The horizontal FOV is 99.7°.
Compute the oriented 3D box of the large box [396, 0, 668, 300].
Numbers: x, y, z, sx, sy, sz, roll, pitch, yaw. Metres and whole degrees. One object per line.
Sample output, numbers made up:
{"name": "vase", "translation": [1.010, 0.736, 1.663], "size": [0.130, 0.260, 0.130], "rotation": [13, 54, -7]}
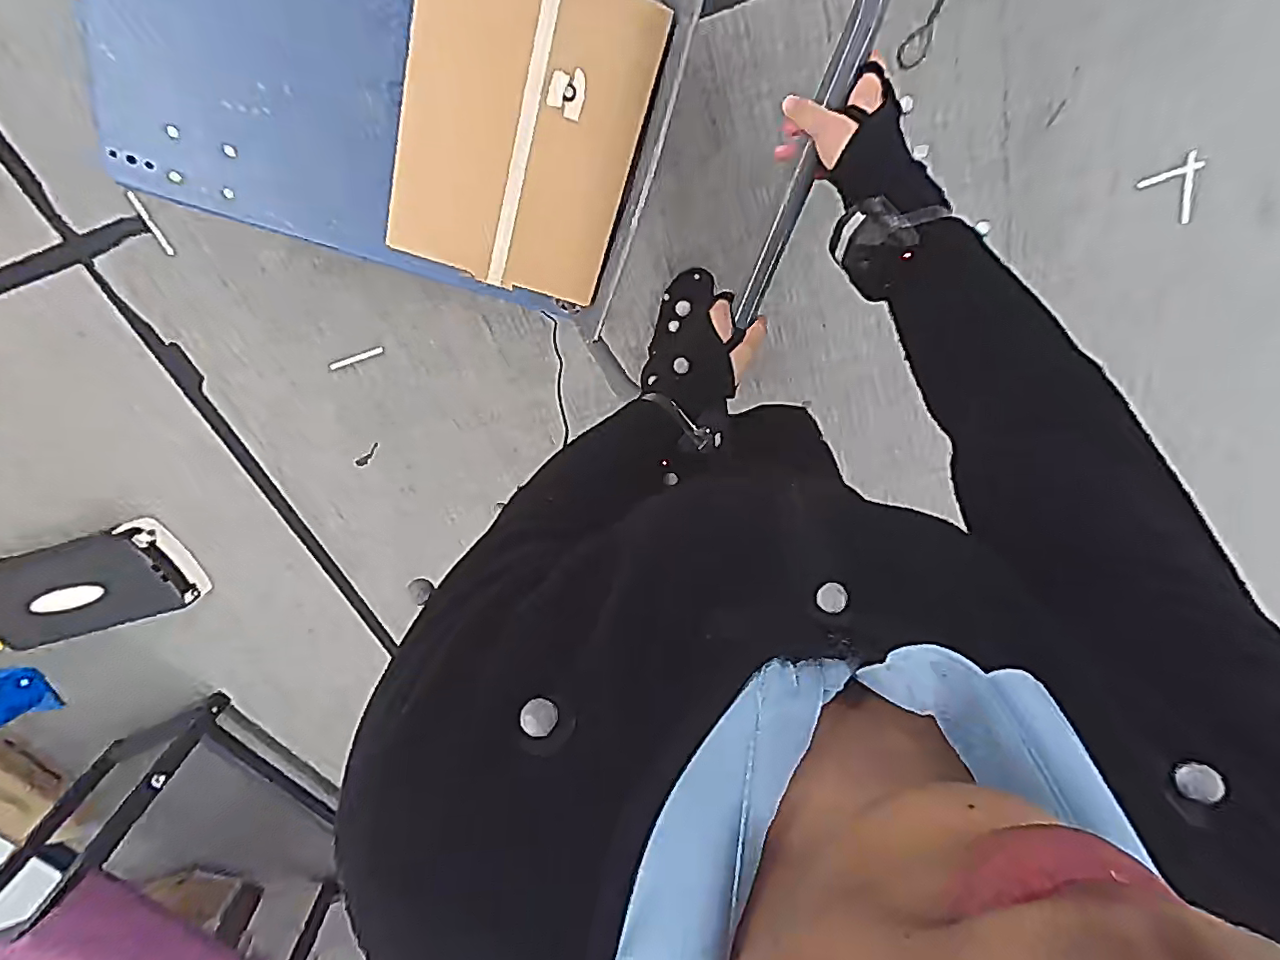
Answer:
{"name": "large box", "translation": [-0.188, -0.560, 0.888], "size": [0.320, 0.320, 0.408], "rotation": [11, 117, -19]}
